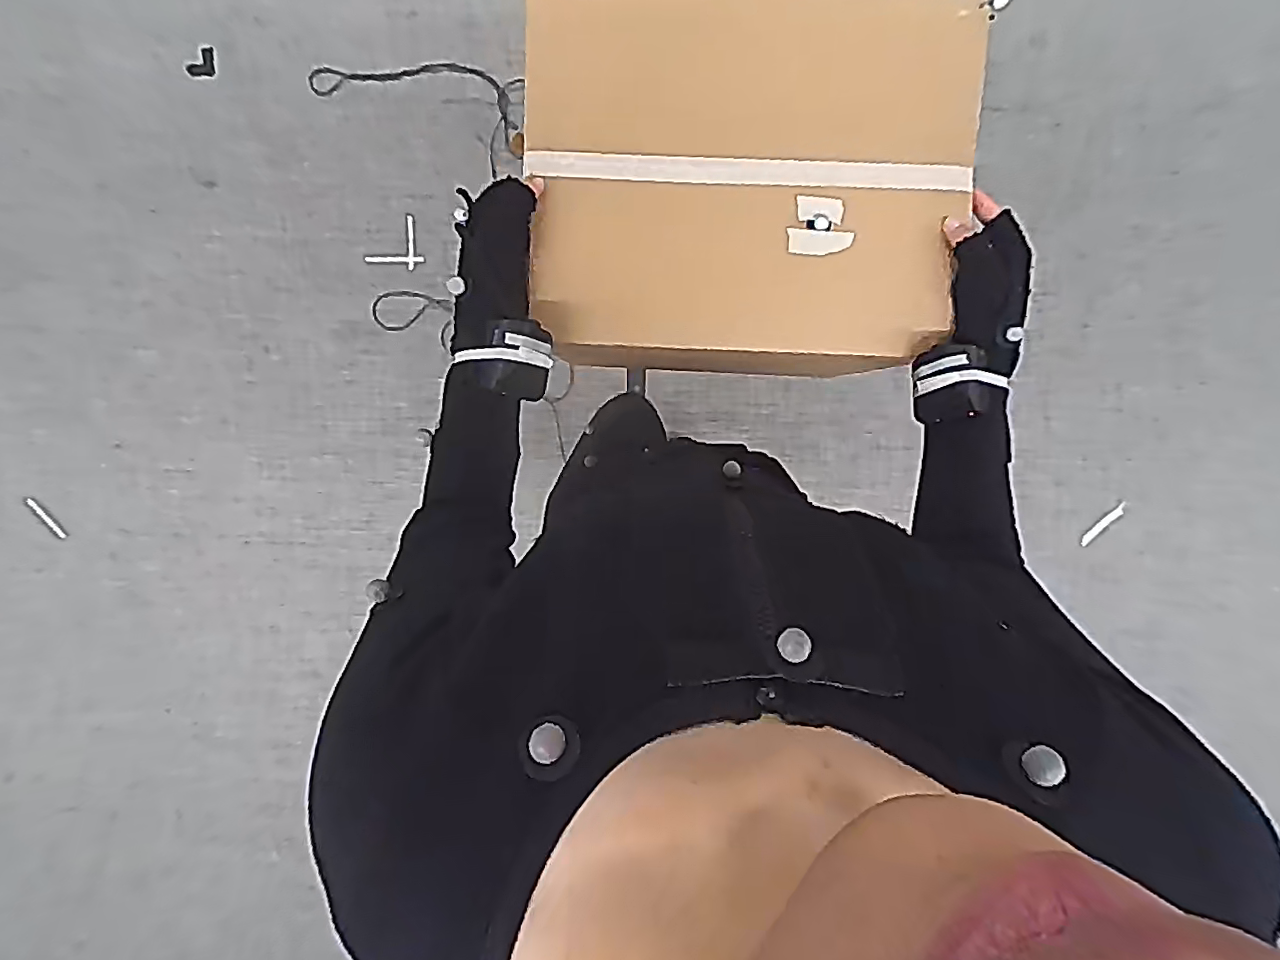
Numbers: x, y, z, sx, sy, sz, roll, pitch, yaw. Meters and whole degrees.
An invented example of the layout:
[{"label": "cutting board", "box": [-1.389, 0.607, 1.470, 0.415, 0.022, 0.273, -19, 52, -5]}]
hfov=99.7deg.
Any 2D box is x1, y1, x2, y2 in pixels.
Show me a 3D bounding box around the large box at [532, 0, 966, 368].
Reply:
[{"label": "large box", "box": [0.095, -0.307, 0.658, 0.408, 0.320, 0.320, 2, 98, -1]}]
